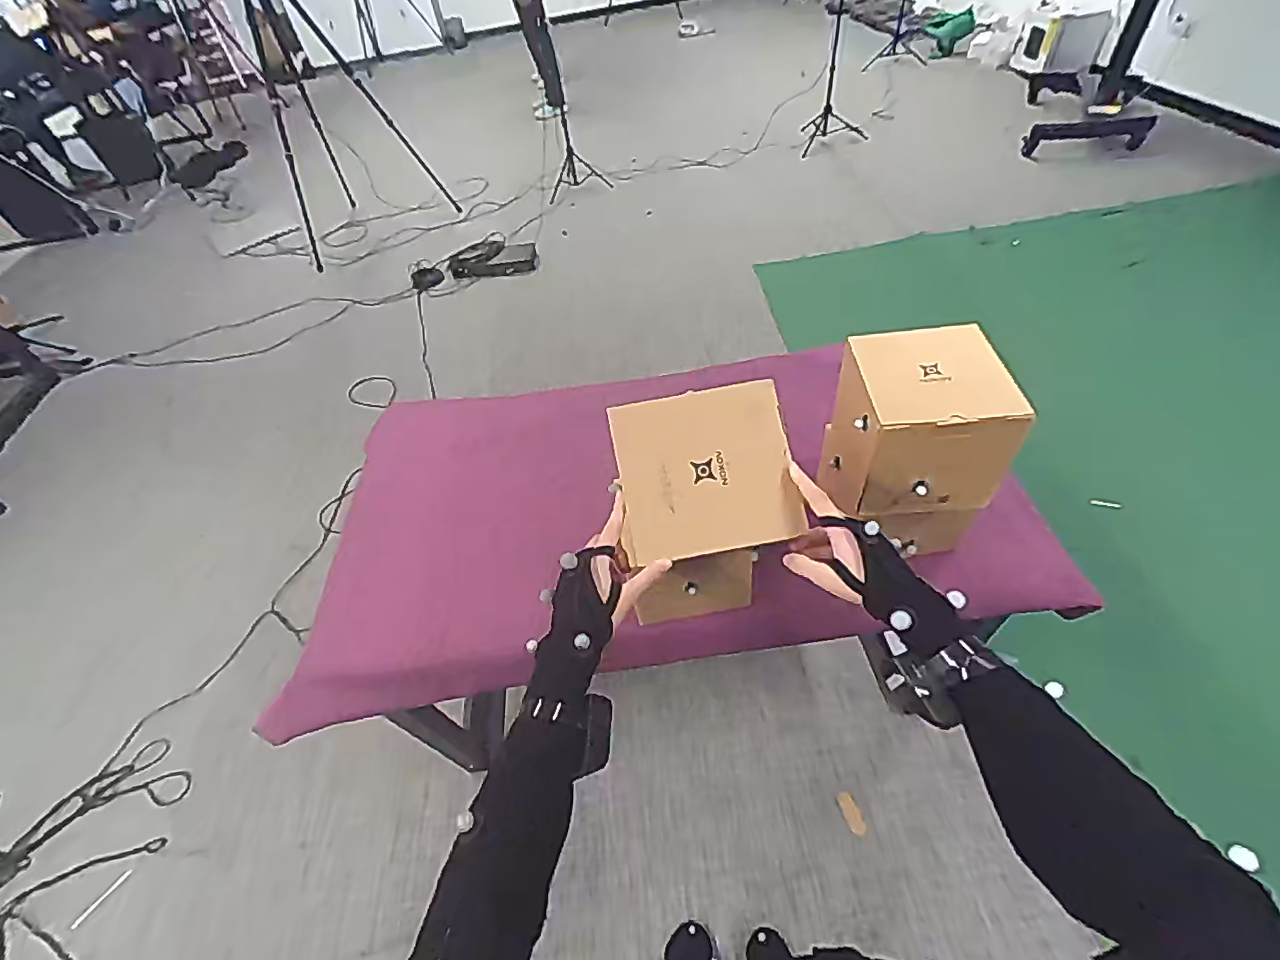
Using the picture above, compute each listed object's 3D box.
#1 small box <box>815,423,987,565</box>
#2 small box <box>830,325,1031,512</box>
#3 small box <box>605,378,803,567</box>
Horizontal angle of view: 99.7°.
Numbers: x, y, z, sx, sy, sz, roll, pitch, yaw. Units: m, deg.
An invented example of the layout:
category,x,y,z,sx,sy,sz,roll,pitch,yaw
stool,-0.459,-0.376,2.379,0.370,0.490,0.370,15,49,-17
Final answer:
category,x,y,z,sx,sy,sz,roll,pitch,yaw
small box,0.392,0.013,0.846,0.179,0.176,0.168,-10,47,1
small box,0.359,-0.078,0.712,0.168,0.176,0.179,-4,49,7
small box,0.062,0.002,0.617,0.179,0.176,0.168,-10,77,-1
